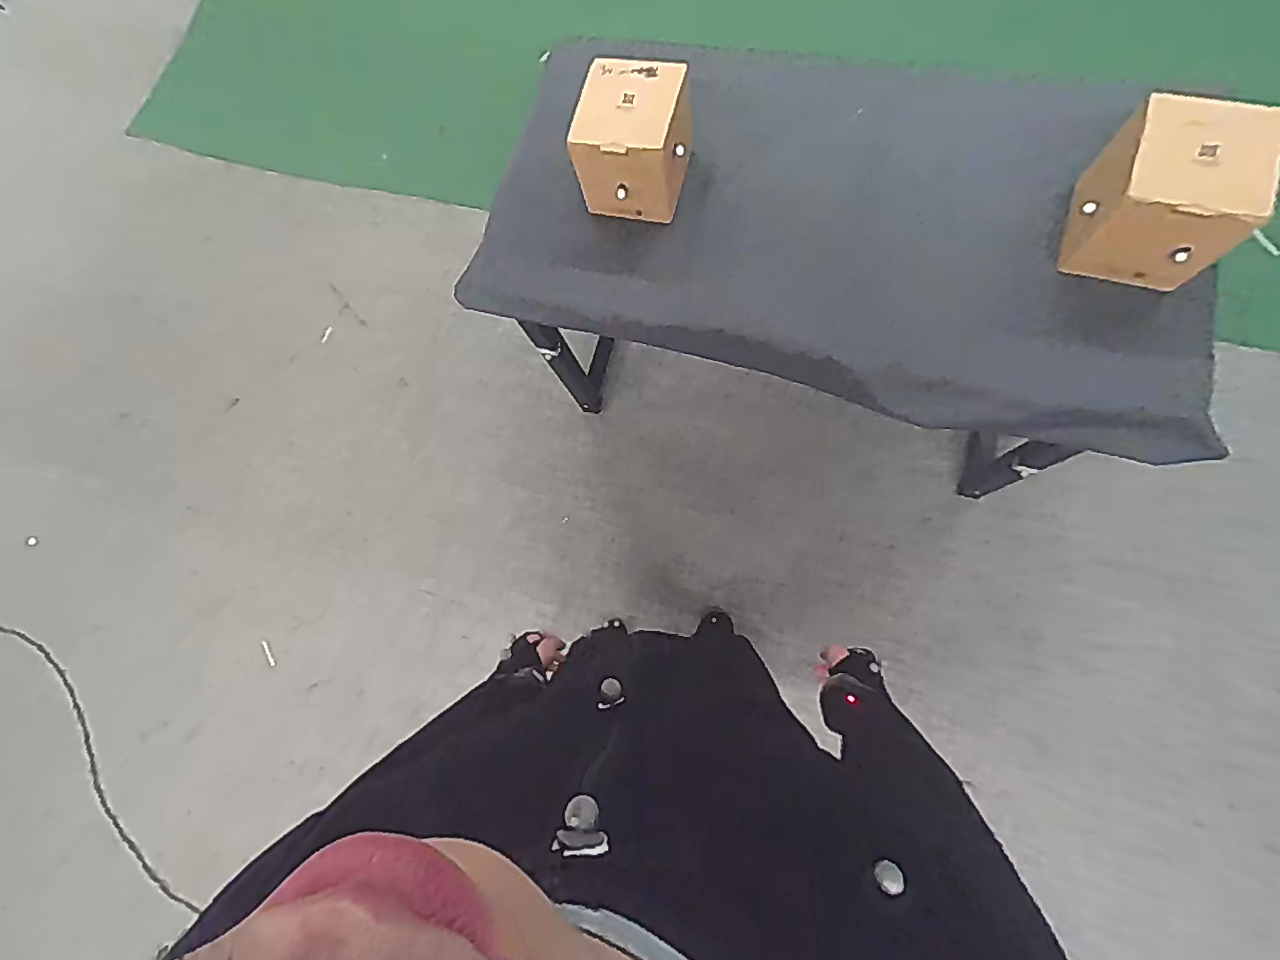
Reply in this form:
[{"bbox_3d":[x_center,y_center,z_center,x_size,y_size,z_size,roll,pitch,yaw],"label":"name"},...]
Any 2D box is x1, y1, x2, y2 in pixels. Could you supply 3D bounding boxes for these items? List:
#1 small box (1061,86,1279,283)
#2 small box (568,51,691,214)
[{"bbox_3d":[0.761,-0.419,0.789,0.168,0.176,0.179,18,79,12],"label":"small box"},{"bbox_3d":[-0.008,-0.604,0.955,0.168,0.176,0.179,13,80,11],"label":"small box"}]
